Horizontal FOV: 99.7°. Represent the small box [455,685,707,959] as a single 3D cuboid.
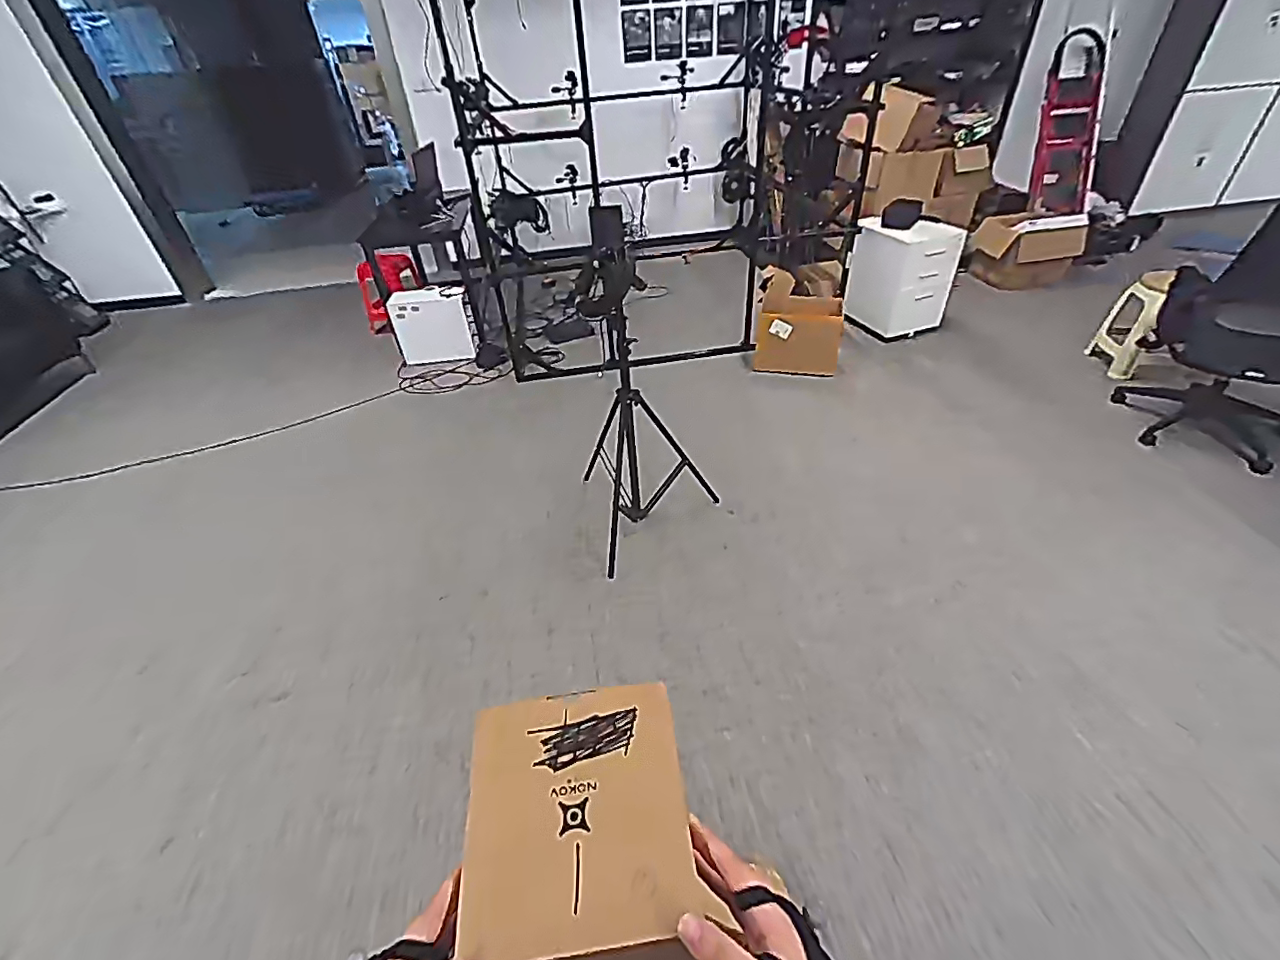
[{"bbox_3d":[-0.042,0.306,0.461,0.168,0.176,0.179,-8,41,-3],"label":"small box"}]
